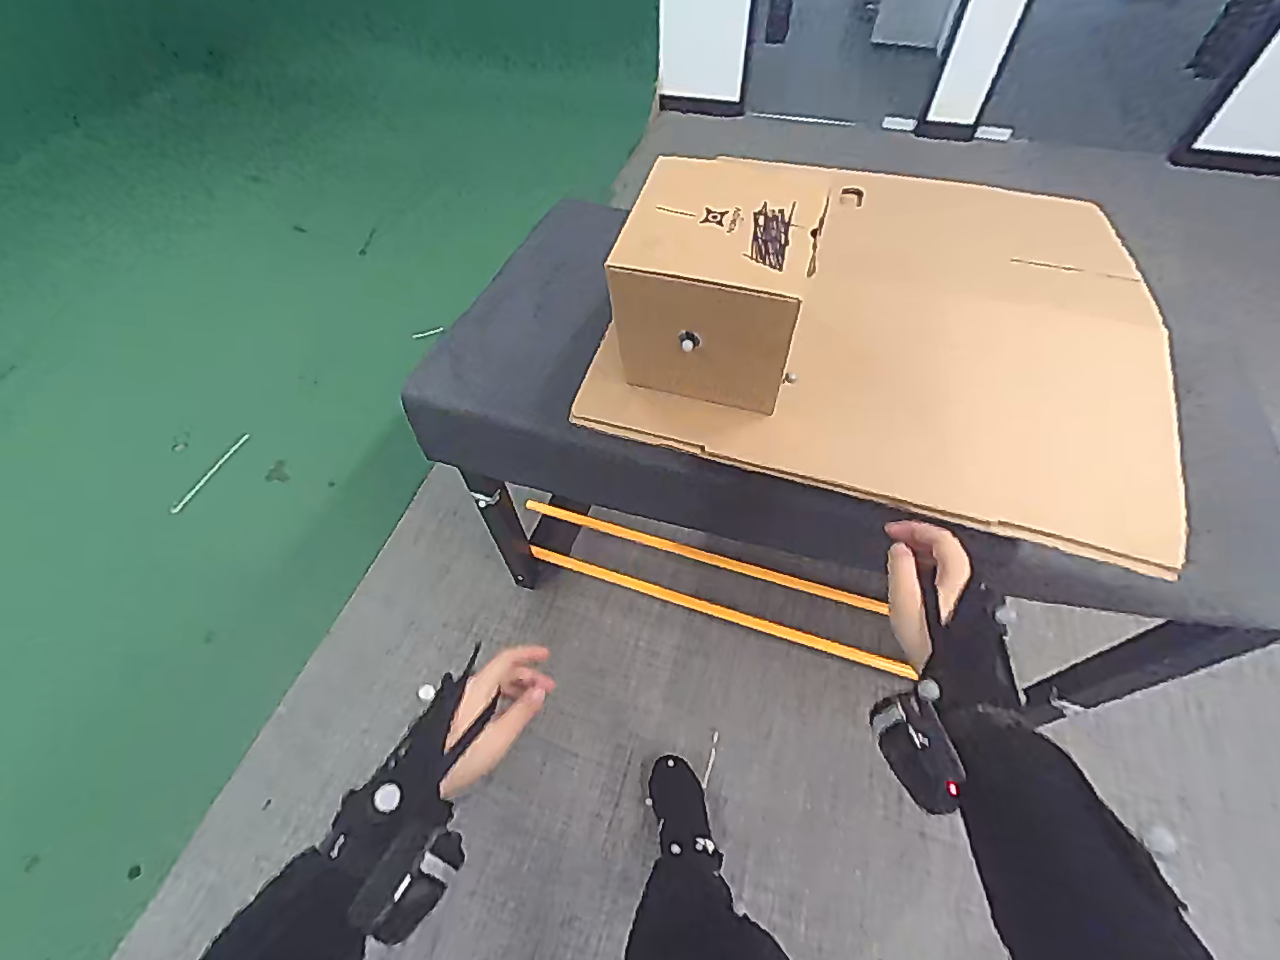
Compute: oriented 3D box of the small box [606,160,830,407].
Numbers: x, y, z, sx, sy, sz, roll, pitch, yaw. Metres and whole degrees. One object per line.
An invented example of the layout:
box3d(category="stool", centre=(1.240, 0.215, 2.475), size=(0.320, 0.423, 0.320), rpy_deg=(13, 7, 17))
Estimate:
box3d(category="small box", centre=(0.082, -0.198, 0.571), size=(0.179, 0.176, 0.168), rpy_deg=(14, 64, 13))
